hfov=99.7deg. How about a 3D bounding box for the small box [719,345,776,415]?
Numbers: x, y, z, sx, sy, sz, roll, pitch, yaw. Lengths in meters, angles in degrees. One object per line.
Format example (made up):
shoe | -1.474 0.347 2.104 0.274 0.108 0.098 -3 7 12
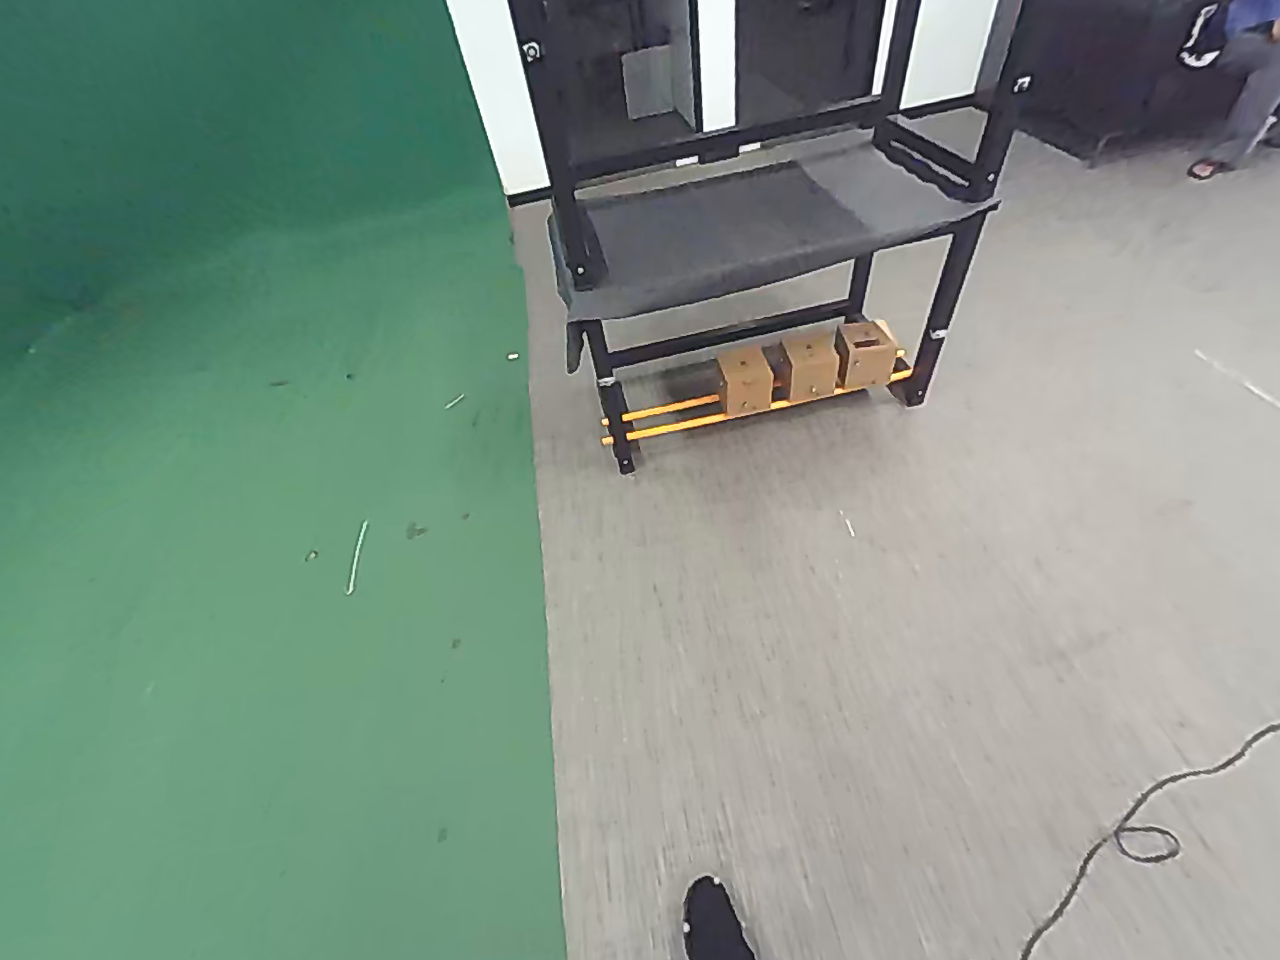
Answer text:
small box | 0.384 -0.363 1.968 0.168 0.176 0.179 -11 51 -1
